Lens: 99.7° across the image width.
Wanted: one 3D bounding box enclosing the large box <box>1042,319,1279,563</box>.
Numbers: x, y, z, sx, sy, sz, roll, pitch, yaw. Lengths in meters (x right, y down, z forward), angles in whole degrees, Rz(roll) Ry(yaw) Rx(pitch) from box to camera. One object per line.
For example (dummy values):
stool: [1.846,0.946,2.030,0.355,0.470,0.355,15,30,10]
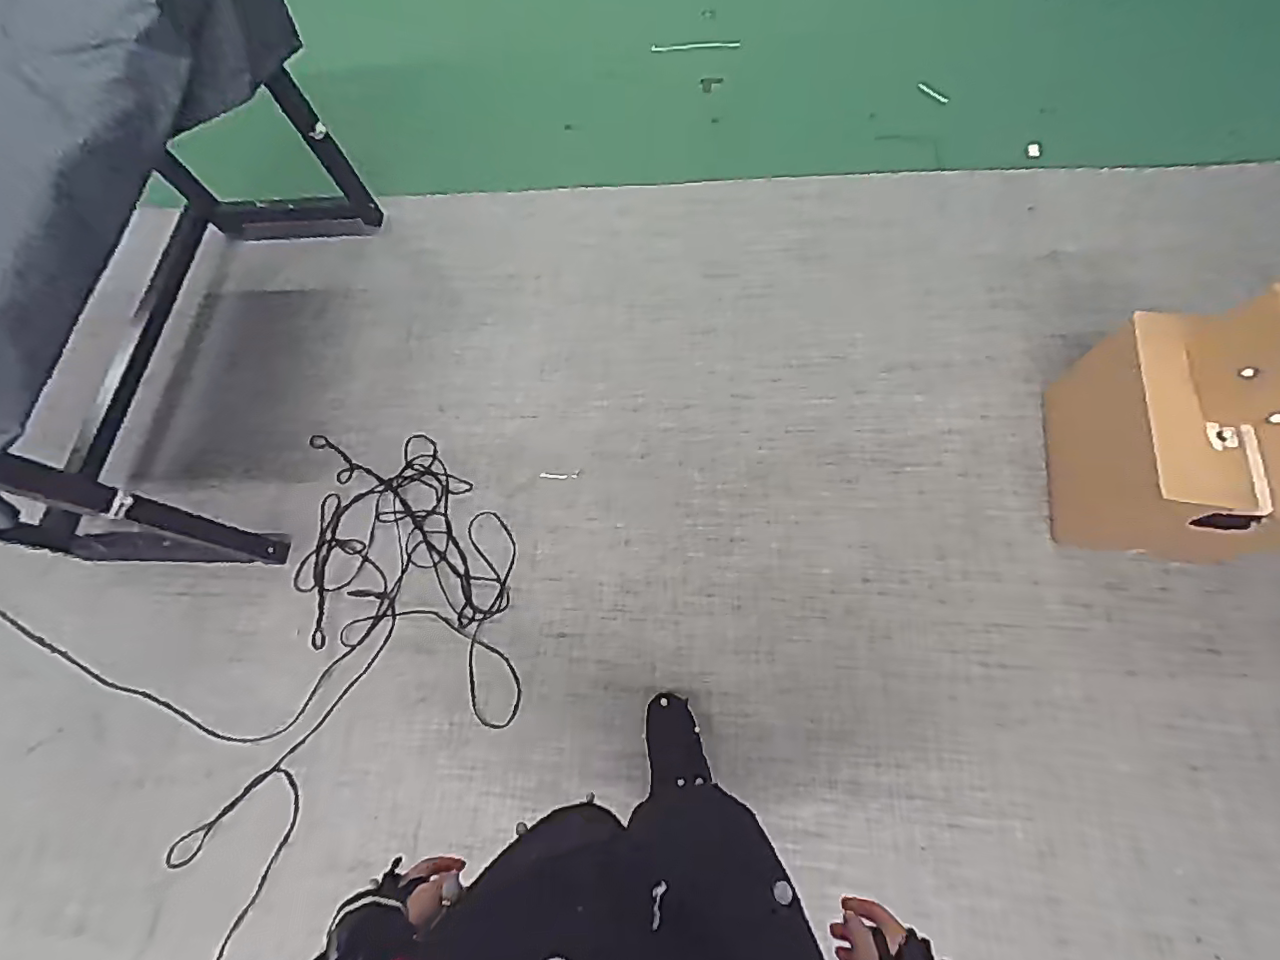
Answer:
large box: [1.103,-0.070,1.122,0.320,0.320,0.408,6,71,10]
